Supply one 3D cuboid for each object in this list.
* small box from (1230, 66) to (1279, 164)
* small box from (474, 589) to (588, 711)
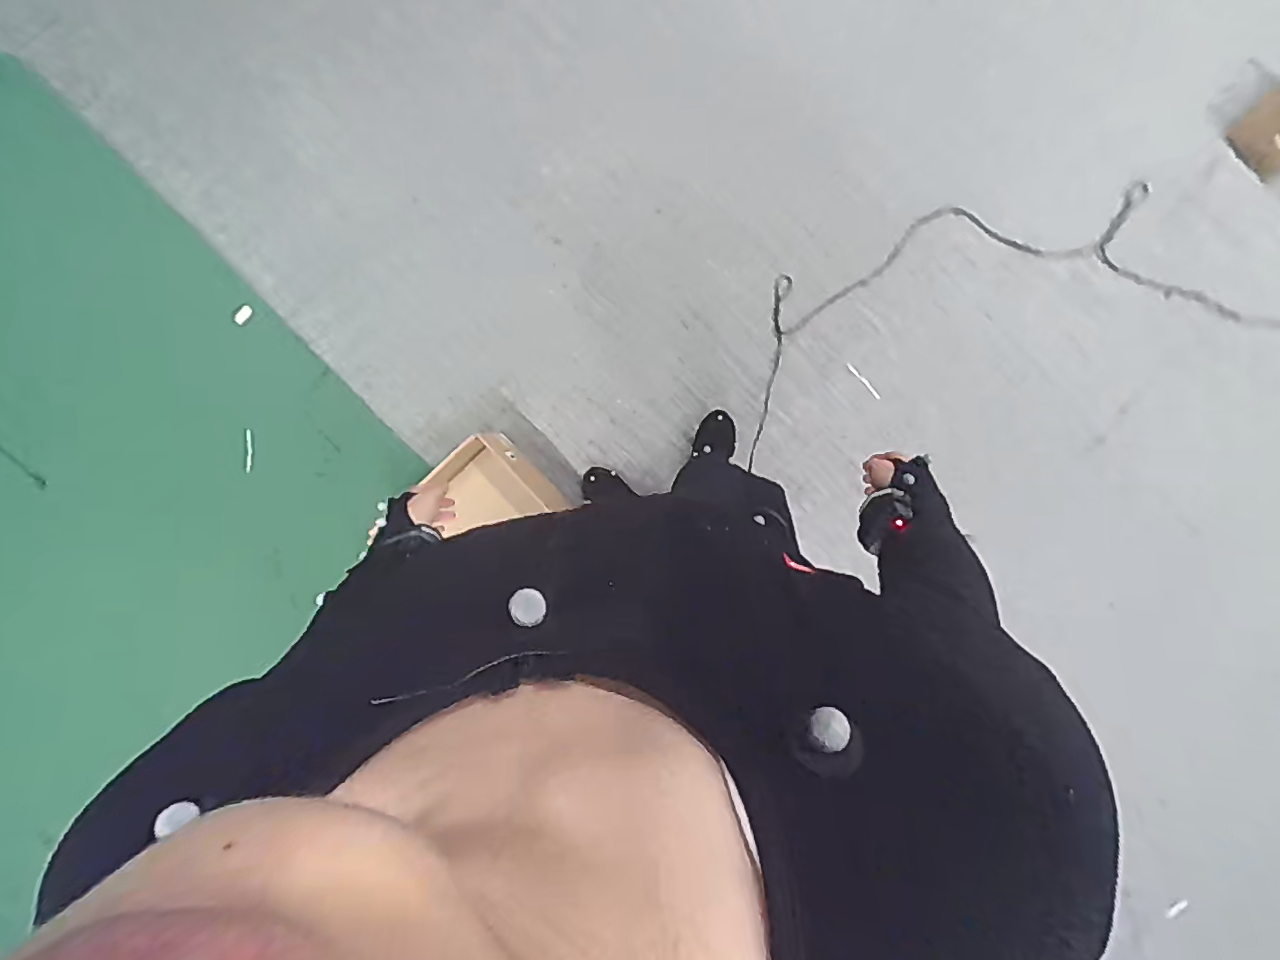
[{"bbox_3d":[1.530,-0.871,1.234,0.168,0.176,0.179,42,97,-2],"label":"small box"},{"bbox_3d":[-0.238,0.378,1.237,0.168,0.176,0.179,-43,91,5],"label":"small box"}]
